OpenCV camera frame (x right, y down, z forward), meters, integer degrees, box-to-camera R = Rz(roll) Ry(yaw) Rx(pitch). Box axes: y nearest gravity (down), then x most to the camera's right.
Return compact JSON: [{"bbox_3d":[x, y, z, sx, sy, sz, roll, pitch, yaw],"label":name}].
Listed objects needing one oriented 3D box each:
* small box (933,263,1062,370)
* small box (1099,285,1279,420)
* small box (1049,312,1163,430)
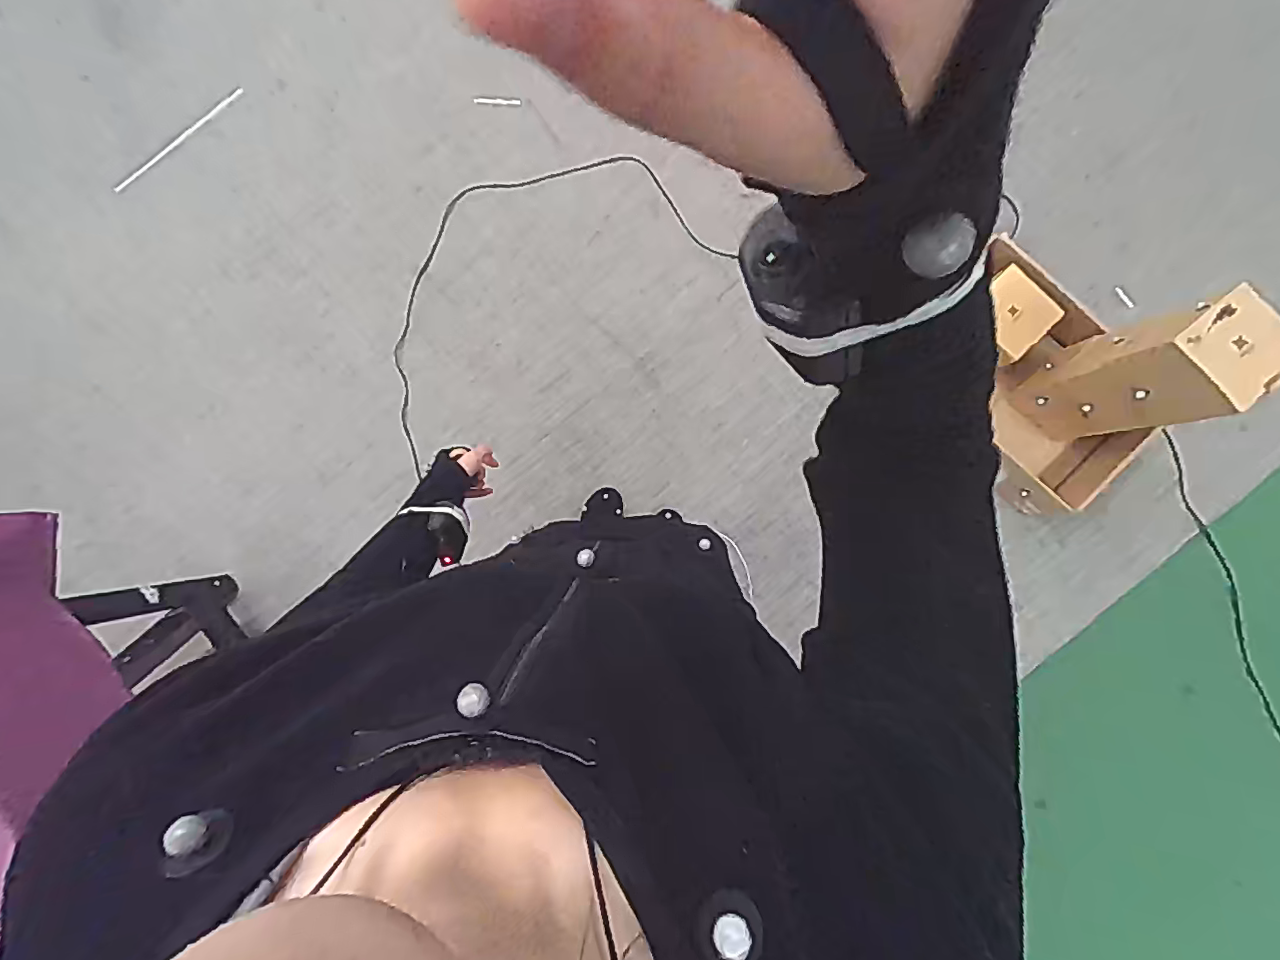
[{"bbox_3d":[0.897,-0.406,1.378,0.168,0.176,0.179,-44,88,1],"label":"small box"},{"bbox_3d":[1.057,-0.230,1.036,0.168,0.176,0.179,-39,87,0],"label":"small box"},{"bbox_3d":[1.075,-0.232,1.201,0.179,0.176,0.168,-43,86,1],"label":"small box"}]
